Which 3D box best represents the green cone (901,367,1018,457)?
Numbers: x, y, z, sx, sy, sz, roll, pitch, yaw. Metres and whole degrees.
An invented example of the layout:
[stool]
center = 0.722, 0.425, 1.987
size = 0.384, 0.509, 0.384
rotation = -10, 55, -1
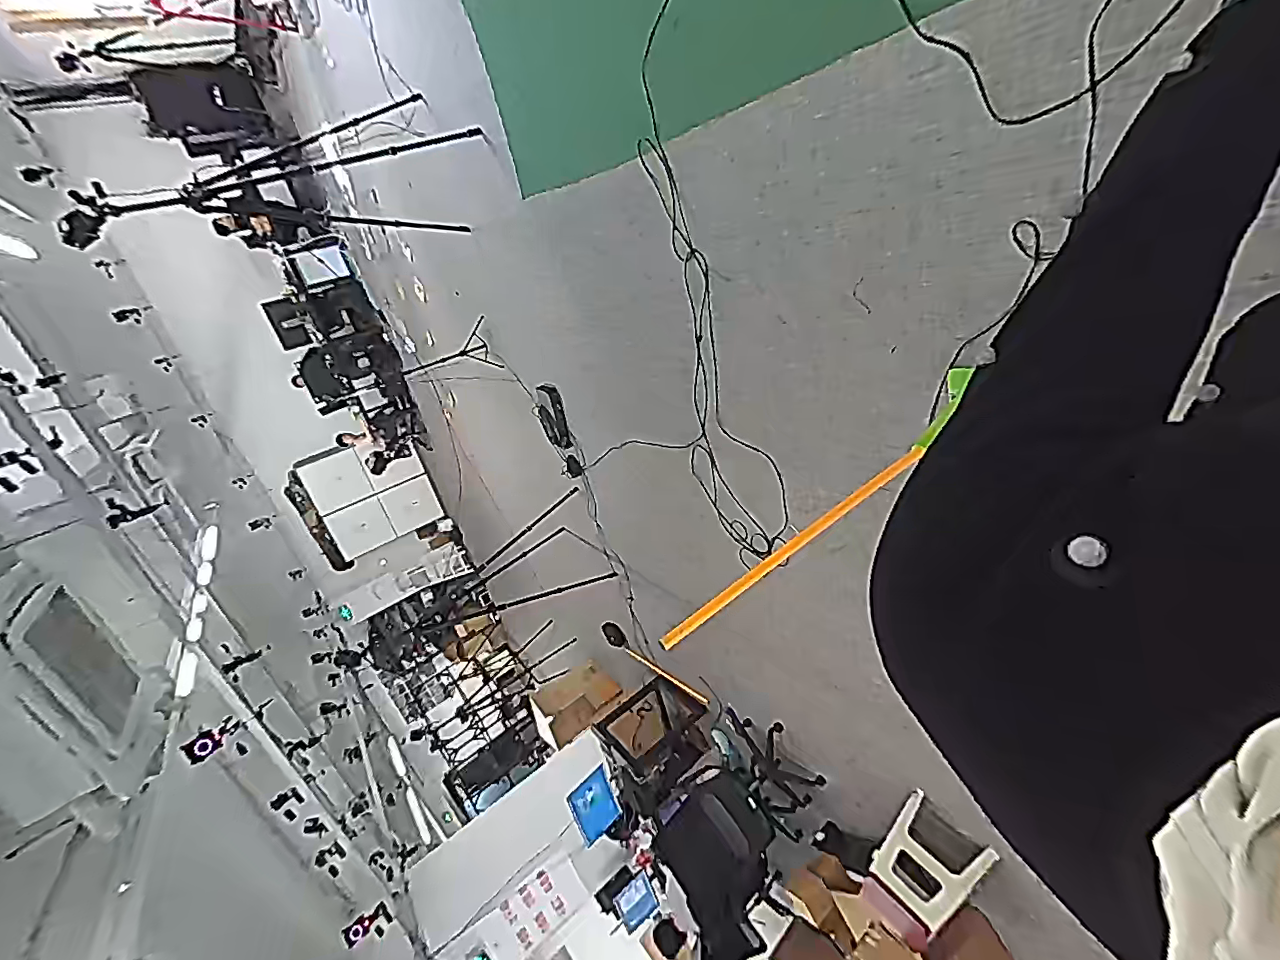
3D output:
[green cone]
center = 0.845, -0.158, 1.487
size = 0.202, 0.368, 0.200
rotation = 17, 130, 55
